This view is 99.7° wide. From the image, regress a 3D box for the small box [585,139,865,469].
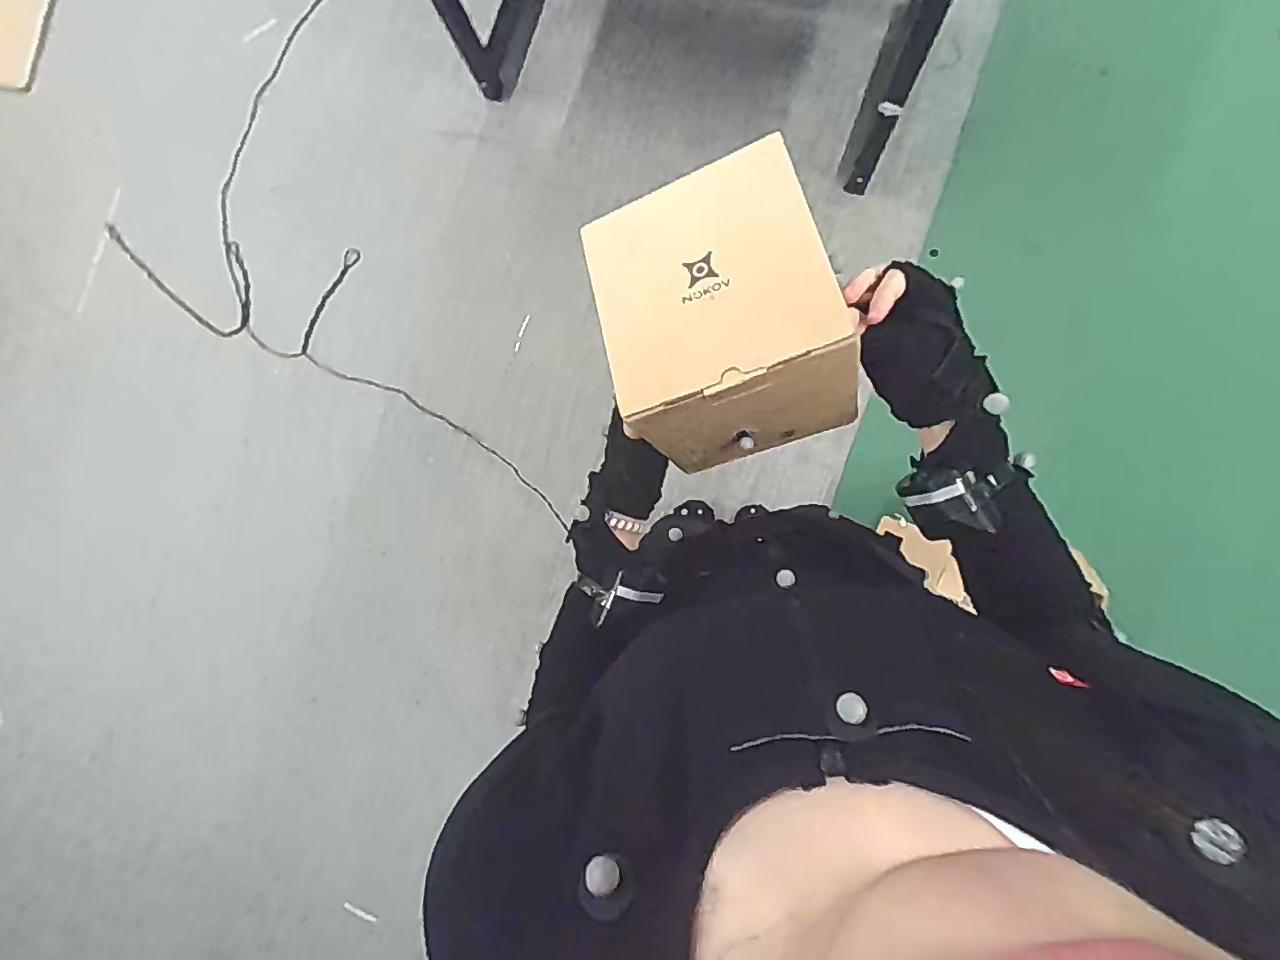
[{"bbox_3d":[0.074,-0.127,0.459,0.168,0.176,0.179,-19,74,15],"label":"small box"}]
